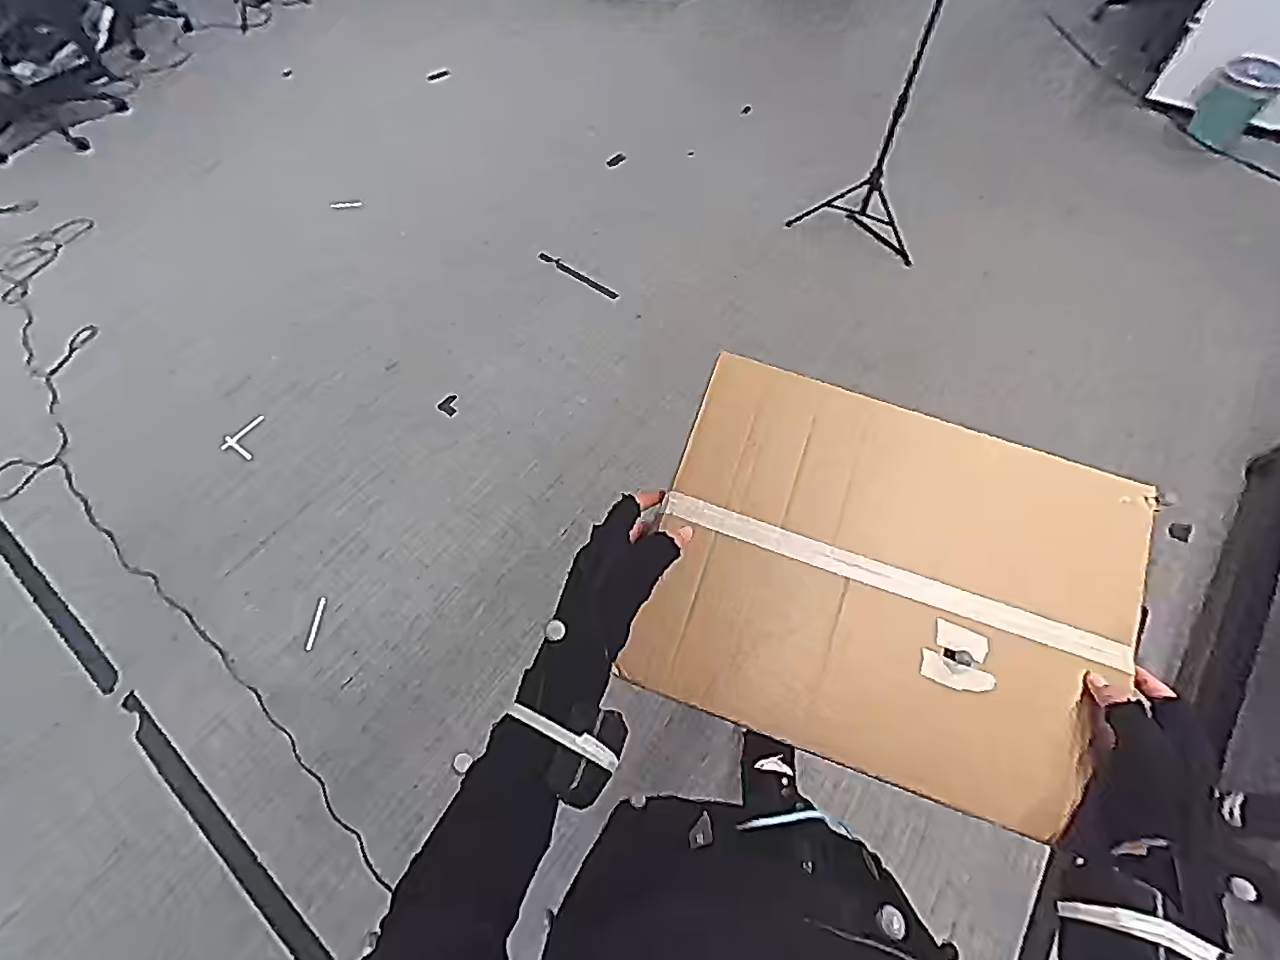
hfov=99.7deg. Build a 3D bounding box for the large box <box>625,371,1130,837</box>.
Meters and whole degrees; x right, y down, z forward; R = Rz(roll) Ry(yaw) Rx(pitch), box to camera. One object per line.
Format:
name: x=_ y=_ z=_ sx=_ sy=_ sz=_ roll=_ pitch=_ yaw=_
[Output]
large box: x=0.221 y=0.125 z=0.630 sx=0.408 sy=0.320 sz=0.320 roll=19 pitch=78 yaw=5
